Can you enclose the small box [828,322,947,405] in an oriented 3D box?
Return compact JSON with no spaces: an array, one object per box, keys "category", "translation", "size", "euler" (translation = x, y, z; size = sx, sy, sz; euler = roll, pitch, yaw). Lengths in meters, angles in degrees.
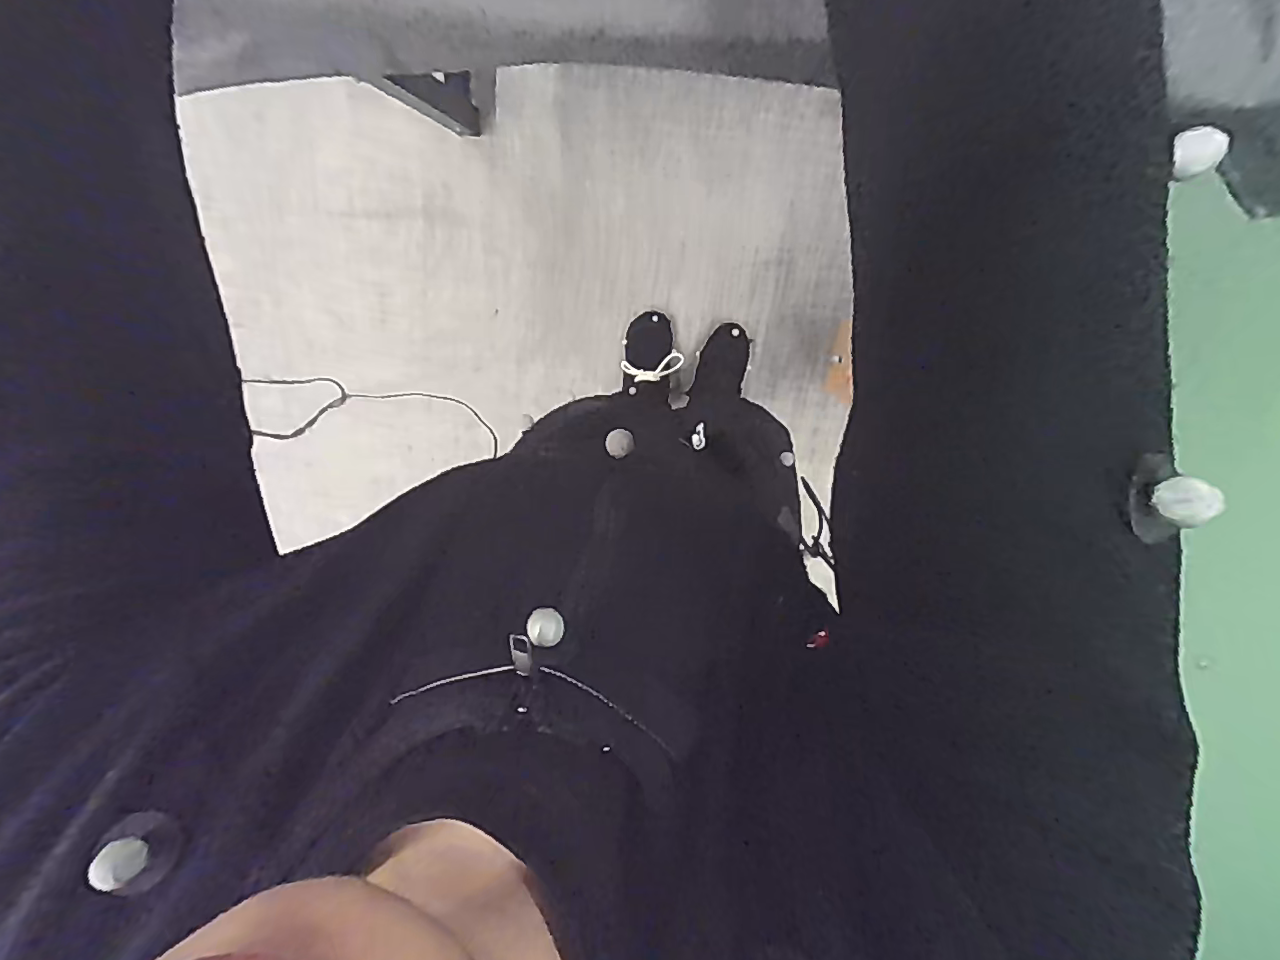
[{"category":"small box","translation":[0.530,-0.251,1.186],"size":[0.179,0.176,0.168],"euler":[7,110,2]}]
